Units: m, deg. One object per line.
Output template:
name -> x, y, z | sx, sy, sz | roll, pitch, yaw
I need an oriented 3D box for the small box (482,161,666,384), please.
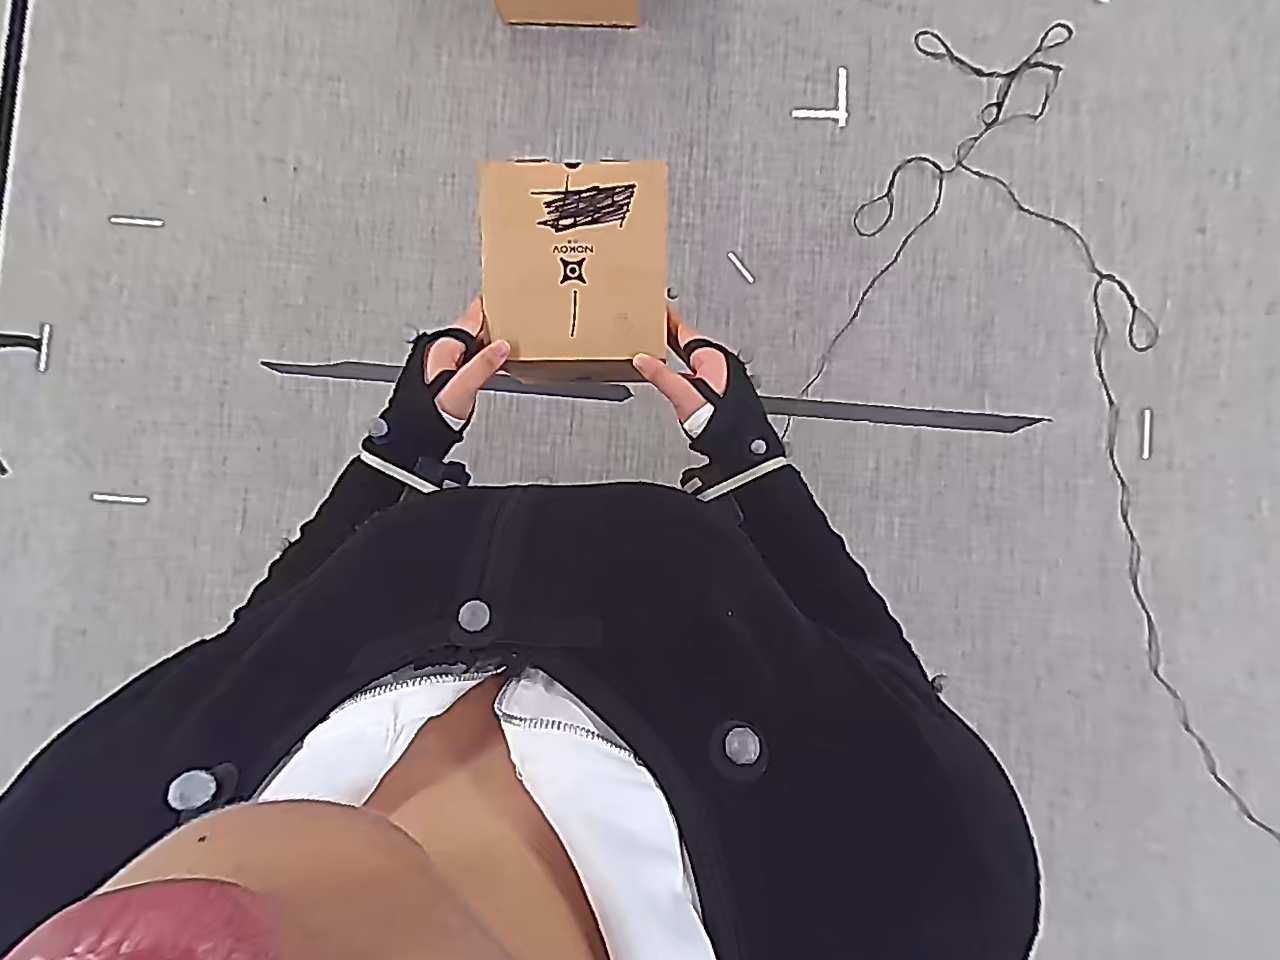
small box -> -0.060, -0.199, 0.562 | 0.168, 0.176, 0.179 | 0, 93, 0
